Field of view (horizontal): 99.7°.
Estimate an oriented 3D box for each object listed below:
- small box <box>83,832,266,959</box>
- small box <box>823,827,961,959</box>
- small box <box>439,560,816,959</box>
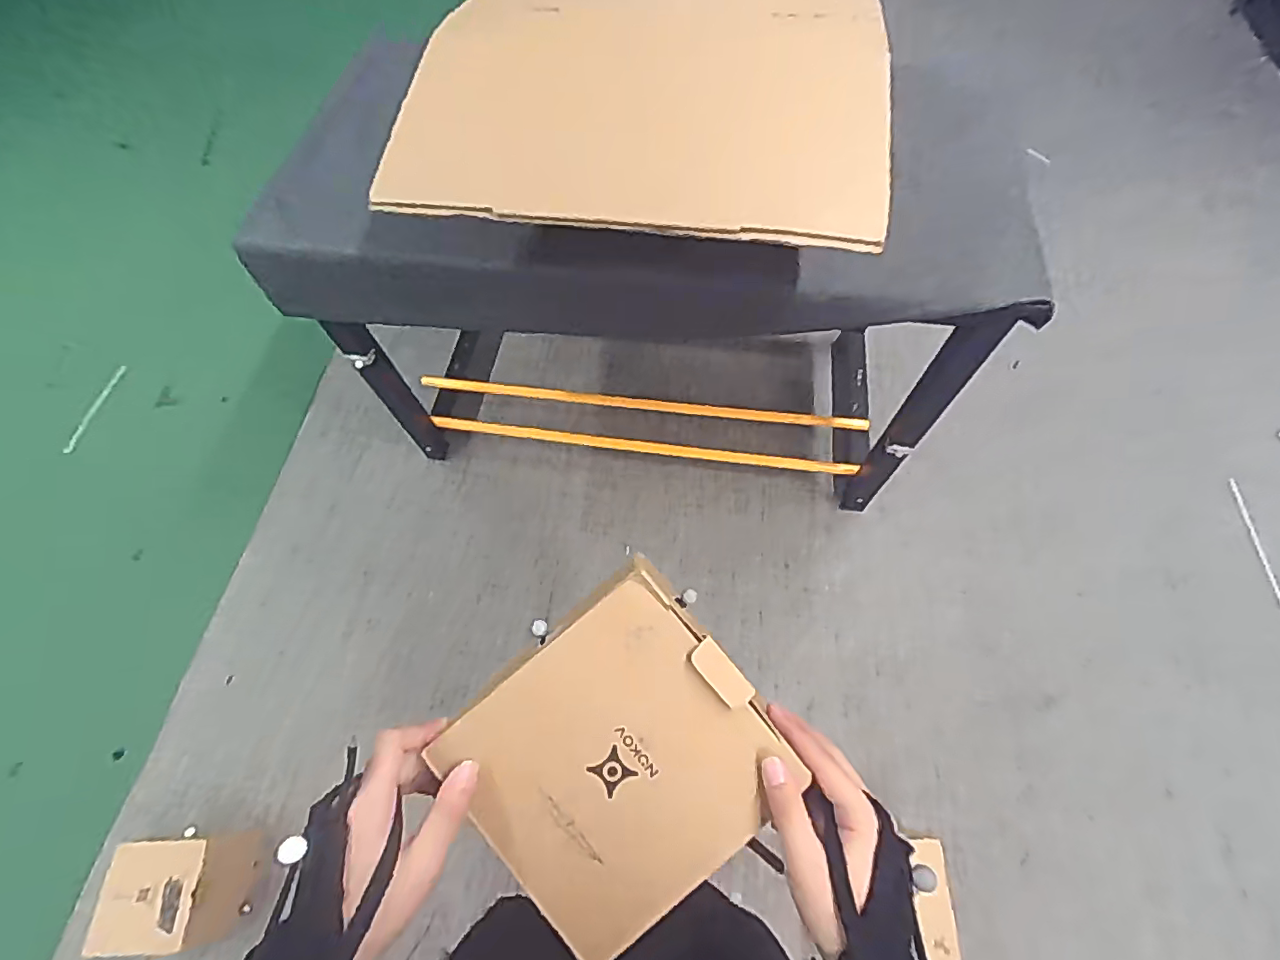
[{"bbox_3d":[-0.853,0.770,1.015,0.179,0.176,0.168,-3,63,2],"label":"small box"},{"bbox_3d":[0.439,0.739,0.976,0.168,0.176,0.179,1,62,3],"label":"small box"},{"bbox_3d":[-0.008,0.175,0.408,0.179,0.176,0.168,-40,85,-3],"label":"small box"}]
